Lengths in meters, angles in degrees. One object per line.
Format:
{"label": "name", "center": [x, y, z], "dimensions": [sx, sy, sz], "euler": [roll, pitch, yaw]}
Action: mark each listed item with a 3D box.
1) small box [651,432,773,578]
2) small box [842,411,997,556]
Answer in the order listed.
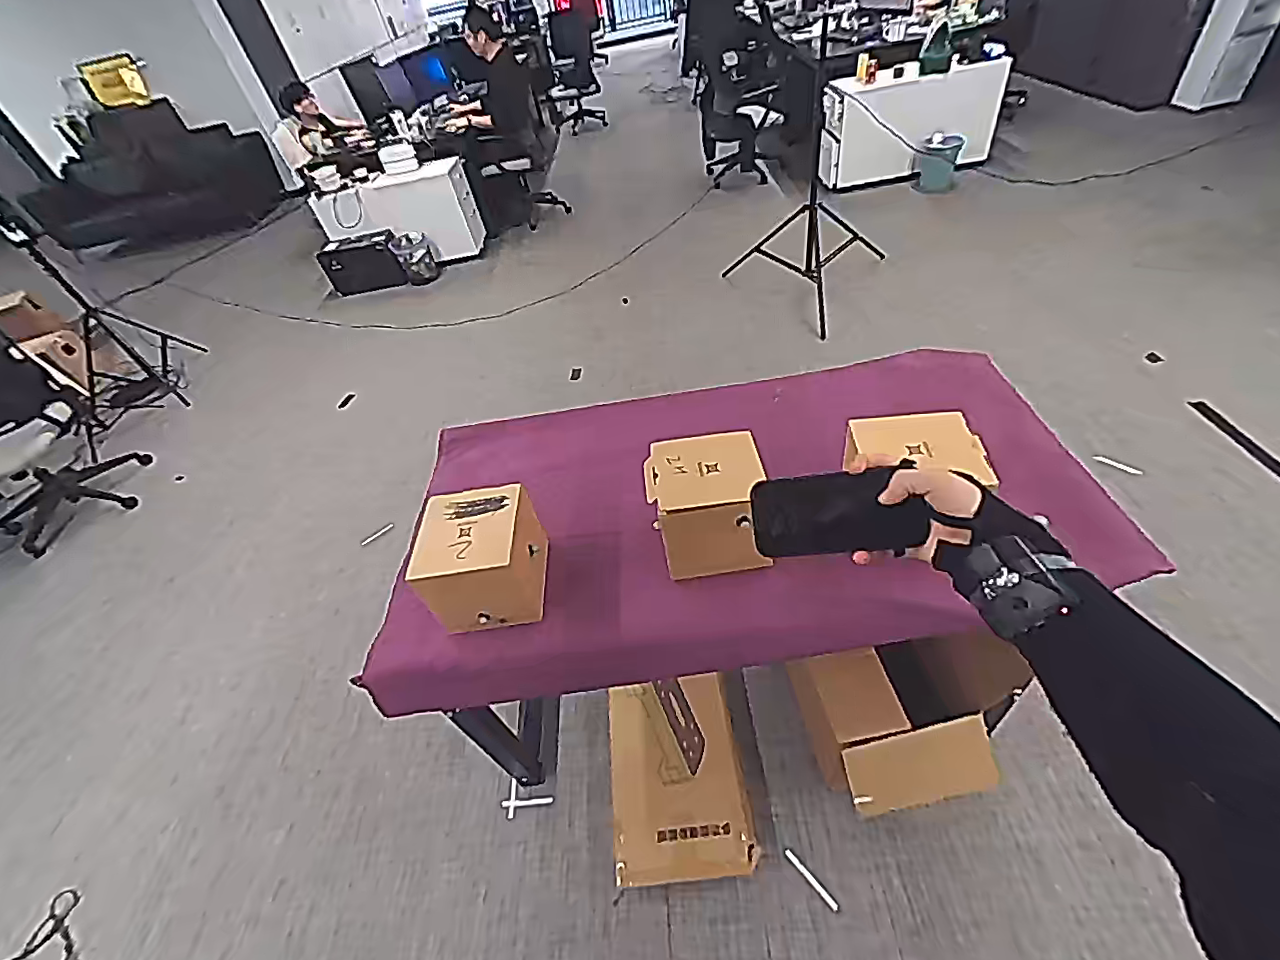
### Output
{"label": "small box", "center": [0.120, 0.044, 0.916], "dimensions": [0.179, 0.176, 0.168], "euler": [-10, 42, 4]}
{"label": "small box", "center": [0.434, 0.010, 0.878], "dimensions": [0.179, 0.176, 0.168], "euler": [-4, 45, 9]}
